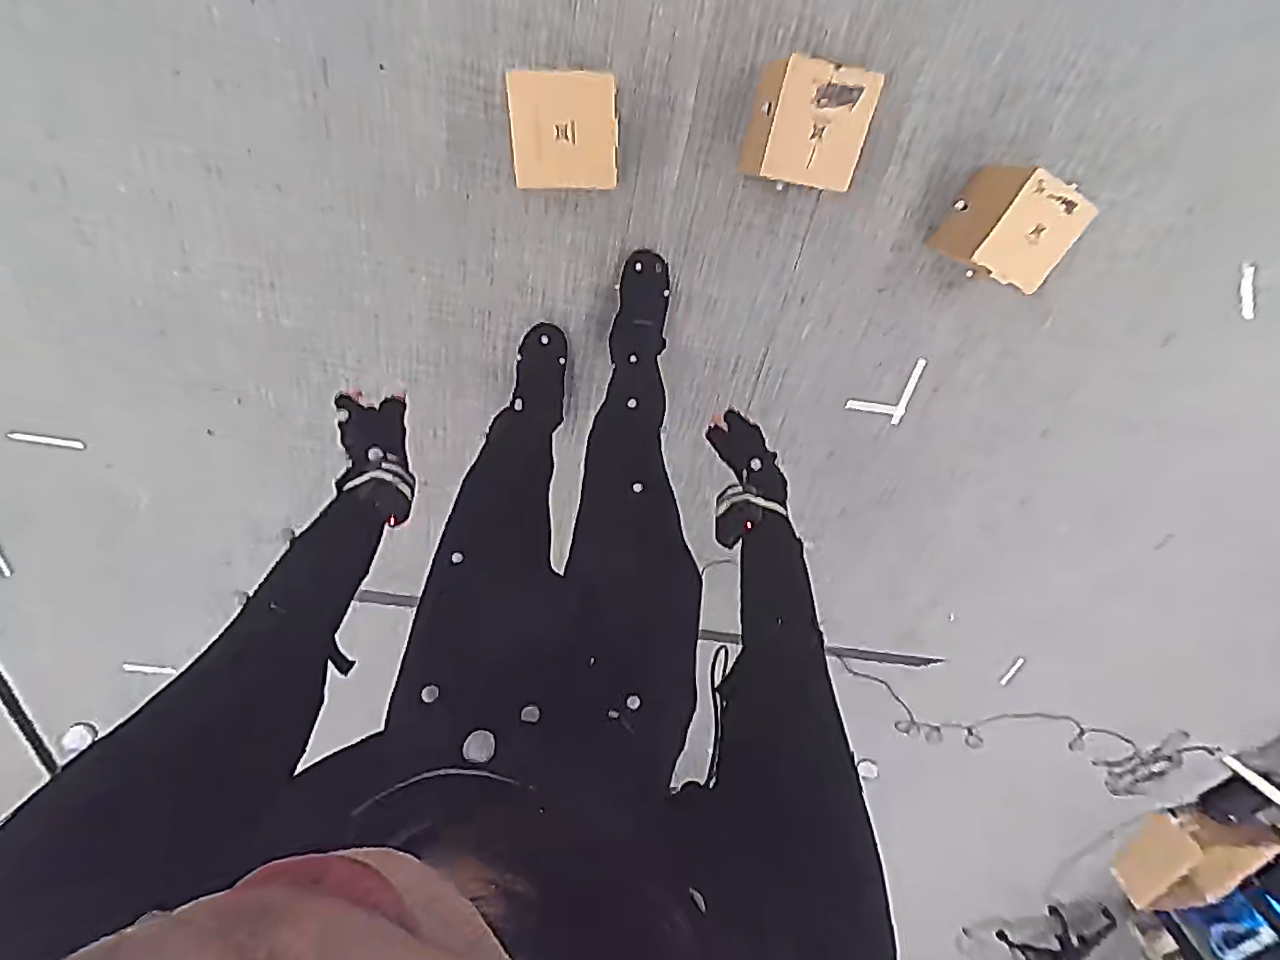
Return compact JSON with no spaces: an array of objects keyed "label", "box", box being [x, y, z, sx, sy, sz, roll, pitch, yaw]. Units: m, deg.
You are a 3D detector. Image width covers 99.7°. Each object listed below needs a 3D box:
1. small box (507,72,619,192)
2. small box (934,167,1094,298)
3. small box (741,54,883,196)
[{"label":"small box","box":[-0.128,-0.608,0.958,0.179,0.176,0.168,-1,120,-2]},{"label":"small box","box":[0.731,-0.499,1.086,0.168,0.176,0.179,21,118,-16]},{"label":"small box","box":[0.294,-0.629,0.973,0.168,0.176,0.179,7,121,-9]}]
